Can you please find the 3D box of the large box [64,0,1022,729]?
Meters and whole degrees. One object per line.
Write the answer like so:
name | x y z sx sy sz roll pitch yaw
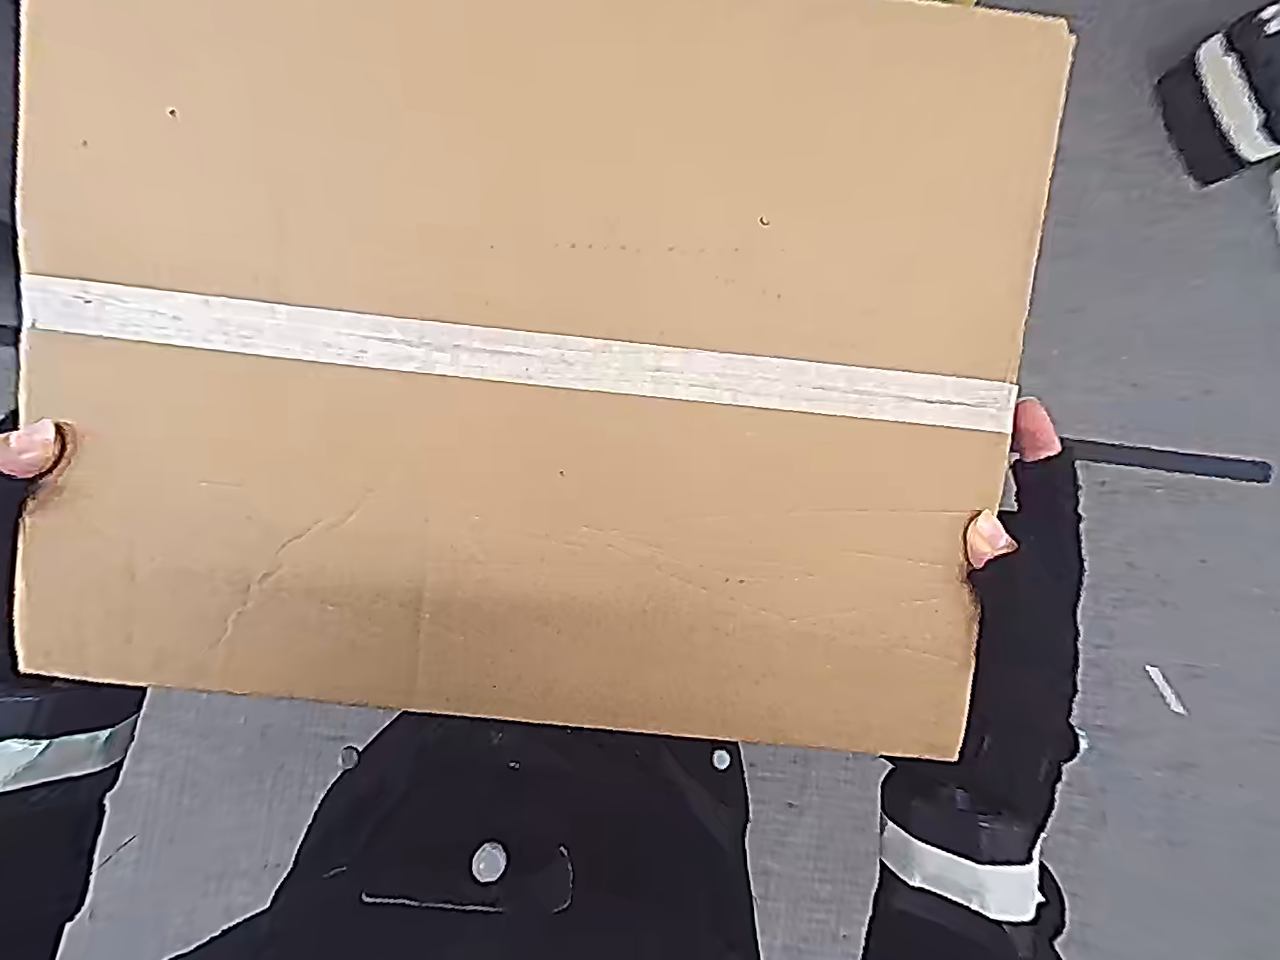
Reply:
large box | -0.047 -0.061 0.387 0.408 0.320 0.320 6 94 -2
